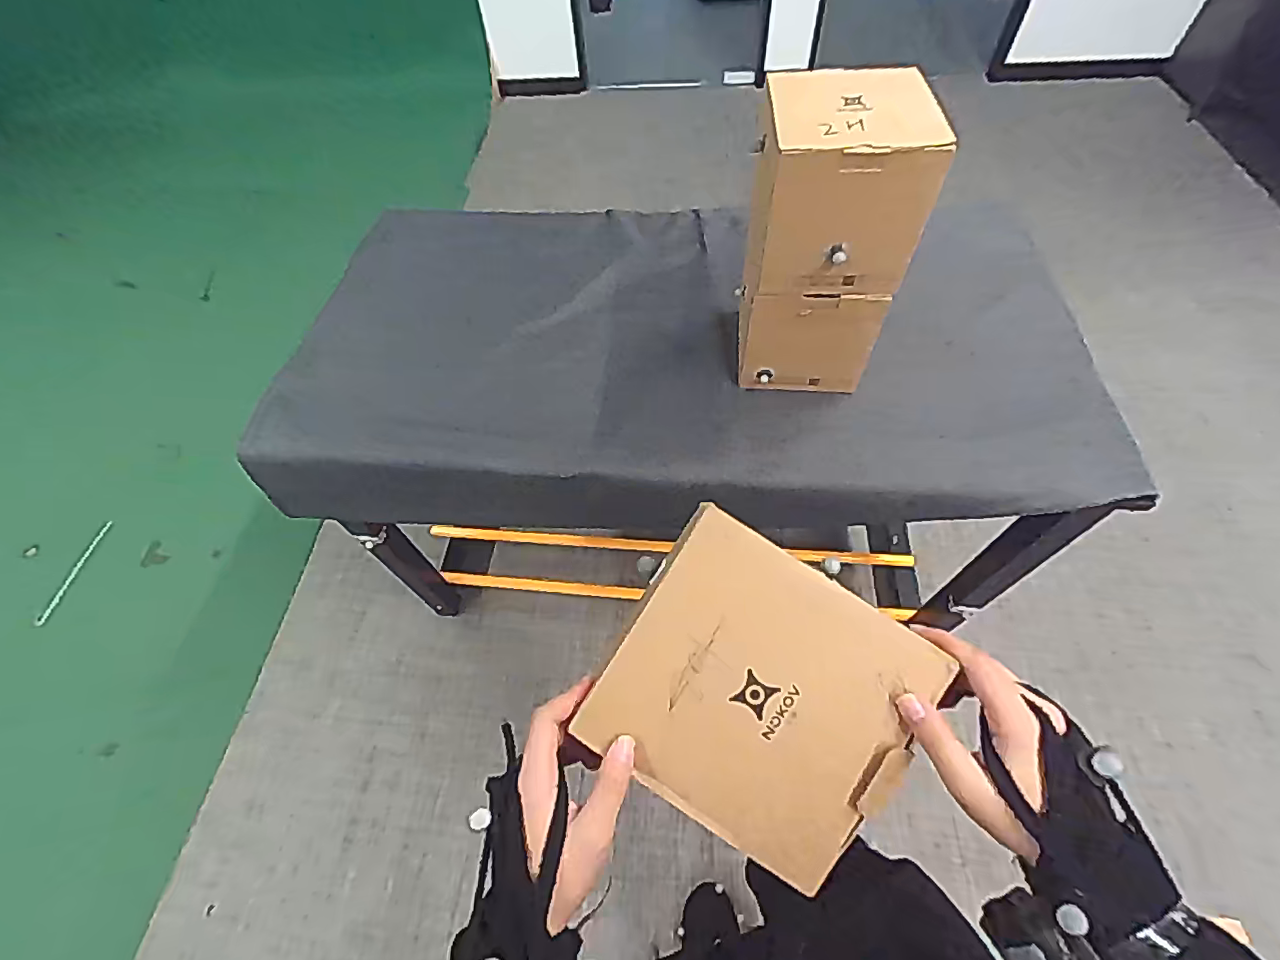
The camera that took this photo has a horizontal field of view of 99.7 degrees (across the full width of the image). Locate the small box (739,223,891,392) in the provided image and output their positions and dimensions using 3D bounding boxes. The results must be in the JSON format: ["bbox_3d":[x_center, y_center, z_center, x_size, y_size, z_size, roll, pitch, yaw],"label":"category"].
[{"bbox_3d":[0.232,-0.241,0.759,0.168,0.176,0.179,3,56,6],"label":"small box"}]

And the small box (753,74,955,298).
[{"bbox_3d":[0.224,-0.334,0.623,0.168,0.176,0.179,1,57,5],"label":"small box"}]

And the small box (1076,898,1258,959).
[{"bbox_3d":[0.873,0.820,0.889,0.168,0.176,0.179,5,58,7],"label":"small box"}]
